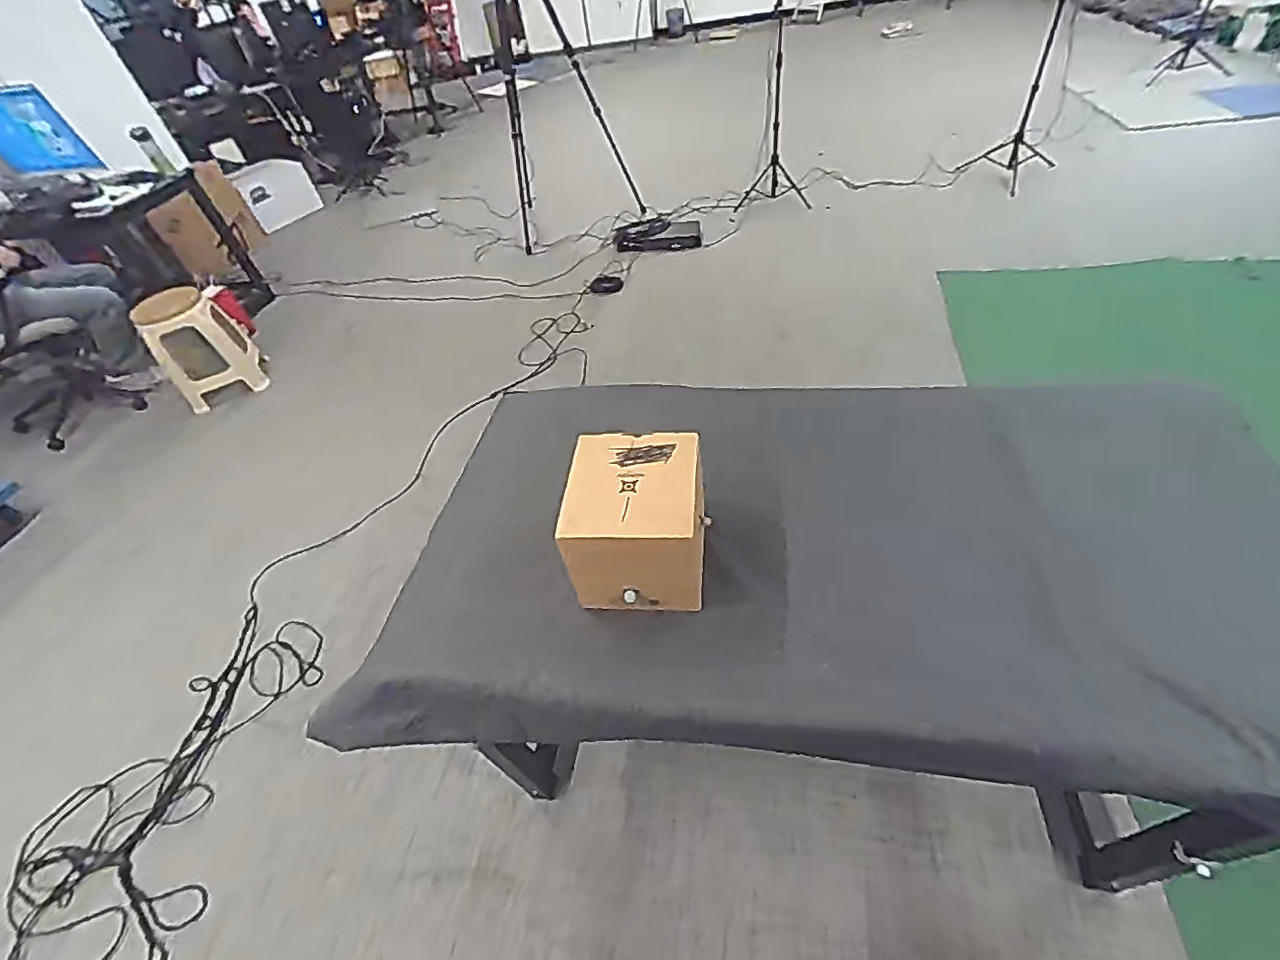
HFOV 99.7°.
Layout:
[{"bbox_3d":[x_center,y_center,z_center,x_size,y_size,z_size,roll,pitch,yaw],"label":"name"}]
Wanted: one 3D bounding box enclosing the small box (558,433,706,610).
[{"bbox_3d":[0.002,0.055,0.735,0.168,0.176,0.179,-1,47,10],"label":"small box"}]
